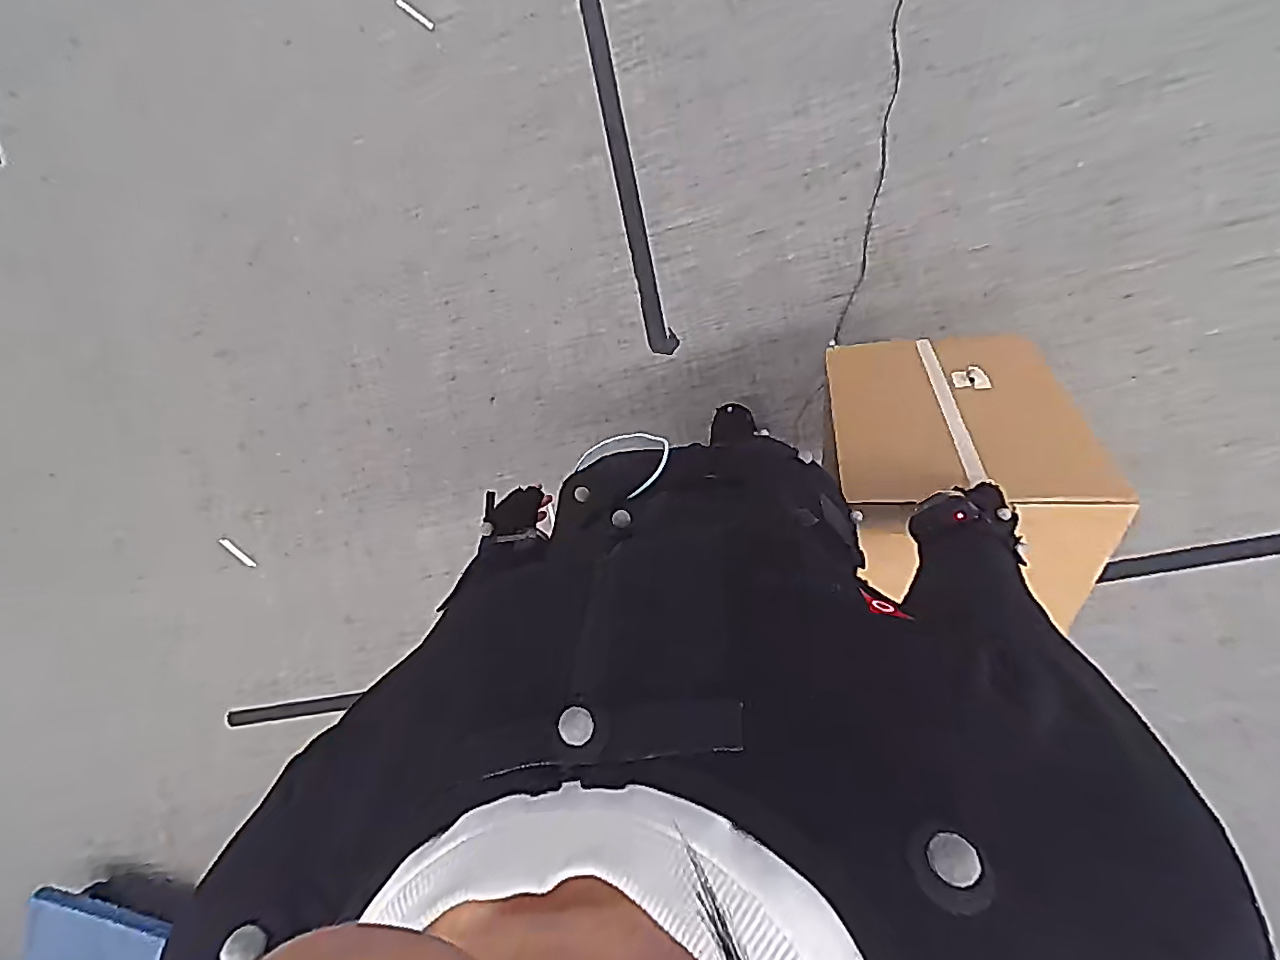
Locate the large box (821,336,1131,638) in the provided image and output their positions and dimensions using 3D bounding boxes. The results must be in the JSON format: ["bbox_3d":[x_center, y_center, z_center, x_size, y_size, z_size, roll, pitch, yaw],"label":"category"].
[{"bbox_3d":[0.477,0.005,0.891,0.320,0.408,0.320,-1,131,14],"label":"large box"}]
